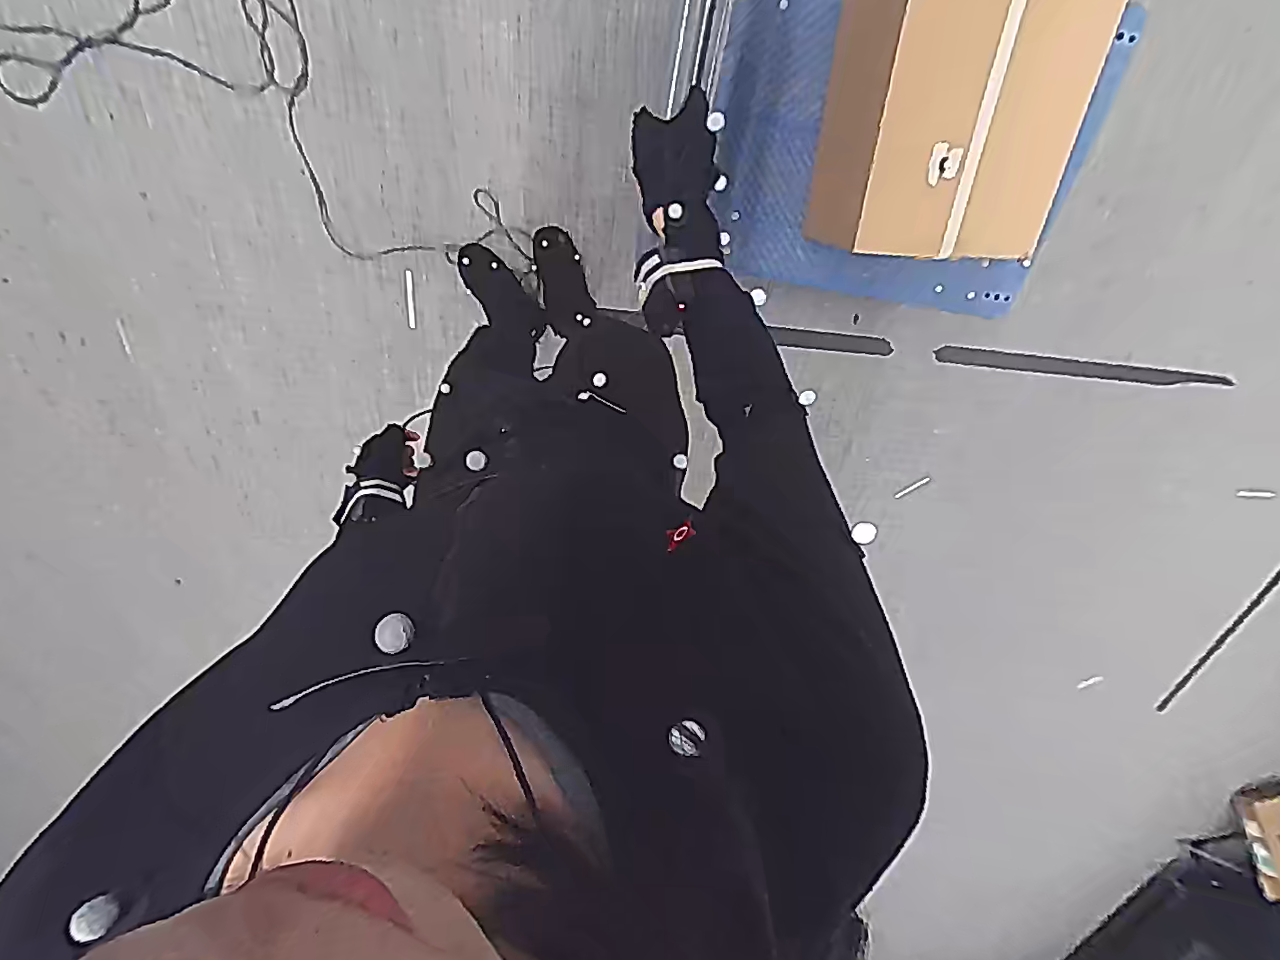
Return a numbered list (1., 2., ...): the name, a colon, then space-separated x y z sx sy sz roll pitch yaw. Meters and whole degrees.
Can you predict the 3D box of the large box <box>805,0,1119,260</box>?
1. large box: 0.516 -0.630 0.956 0.320 0.320 0.408 2 120 -1
